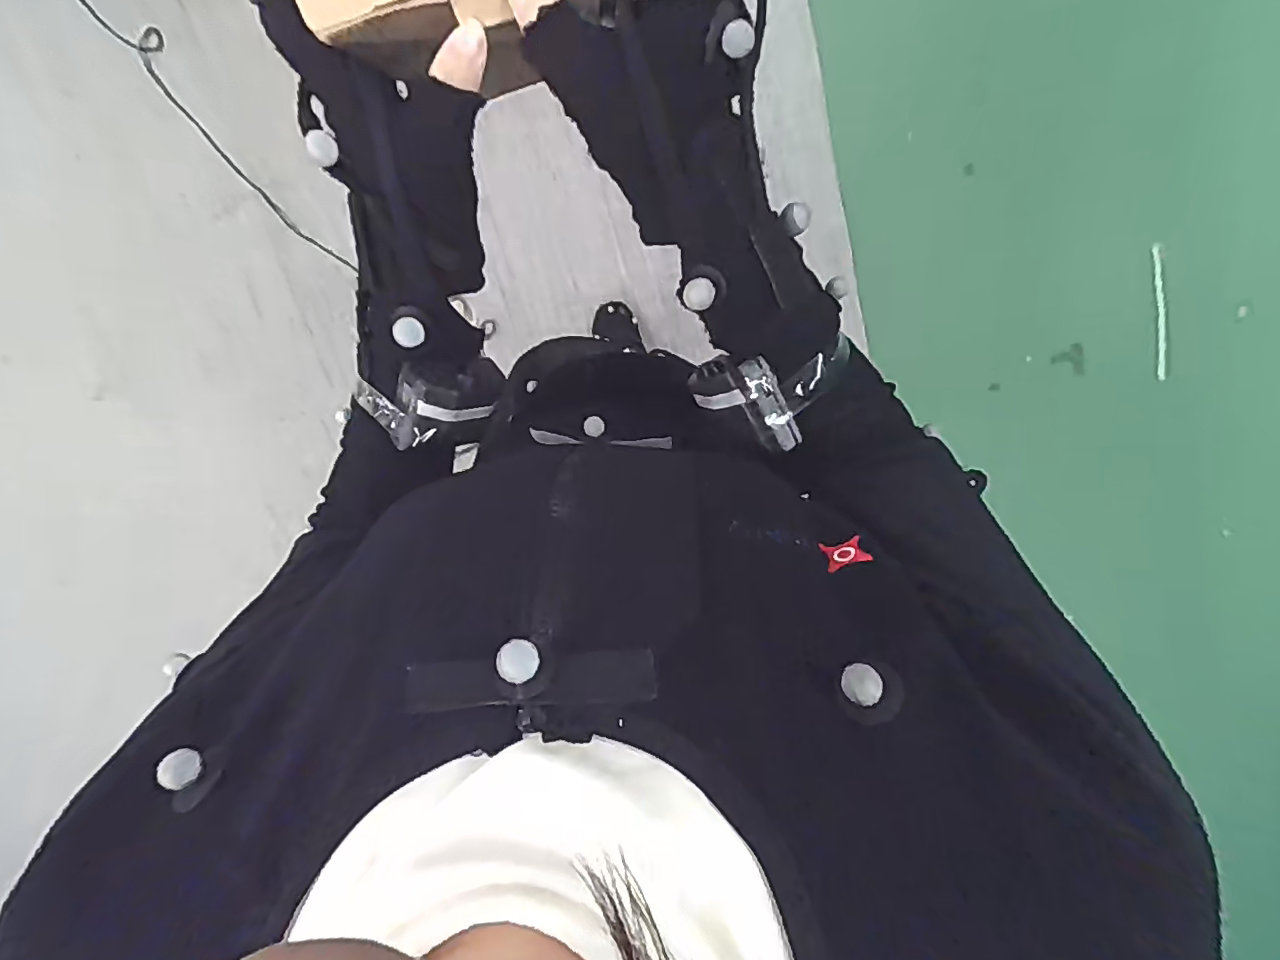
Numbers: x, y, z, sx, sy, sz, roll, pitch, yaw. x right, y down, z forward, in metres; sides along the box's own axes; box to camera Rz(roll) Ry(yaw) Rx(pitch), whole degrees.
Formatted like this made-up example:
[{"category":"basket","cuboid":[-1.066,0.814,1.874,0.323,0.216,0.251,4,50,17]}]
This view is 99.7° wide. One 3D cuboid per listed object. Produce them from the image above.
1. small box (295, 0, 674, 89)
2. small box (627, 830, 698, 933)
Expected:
[{"category":"small box","cuboid":[-0.080,-0.317,0.257,0.168,0.176,0.179,-12,113,9]},{"category":"small box","cuboid":[0.065,1.173,1.587,0.179,0.176,0.168,-12,103,3]}]
